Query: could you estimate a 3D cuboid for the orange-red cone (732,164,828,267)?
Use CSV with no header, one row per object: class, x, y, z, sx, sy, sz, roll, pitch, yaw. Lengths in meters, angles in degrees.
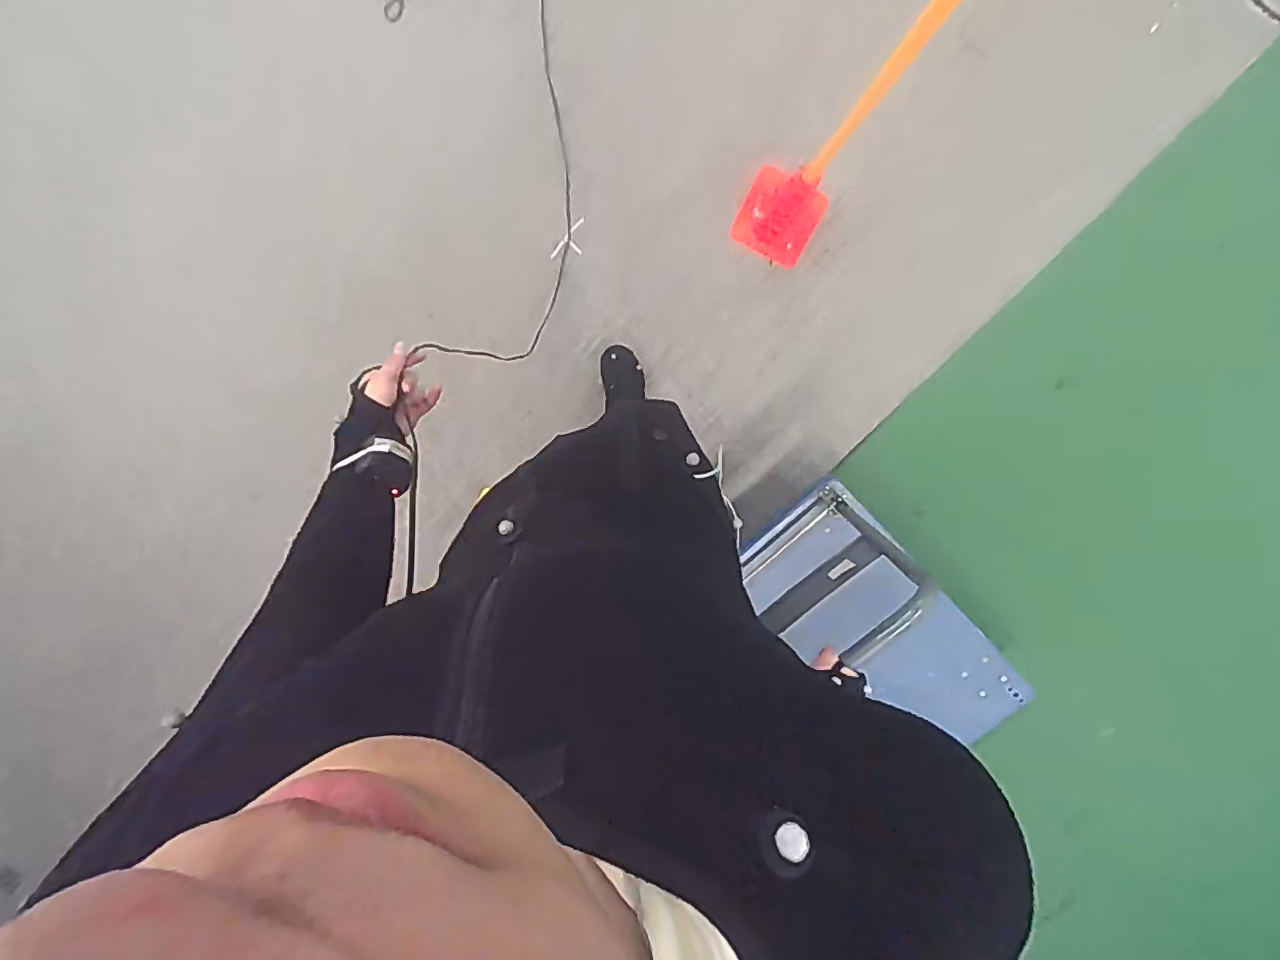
orange-red cone,0.361,-0.654,1.253,0.198,0.360,0.199,28,101,-4
